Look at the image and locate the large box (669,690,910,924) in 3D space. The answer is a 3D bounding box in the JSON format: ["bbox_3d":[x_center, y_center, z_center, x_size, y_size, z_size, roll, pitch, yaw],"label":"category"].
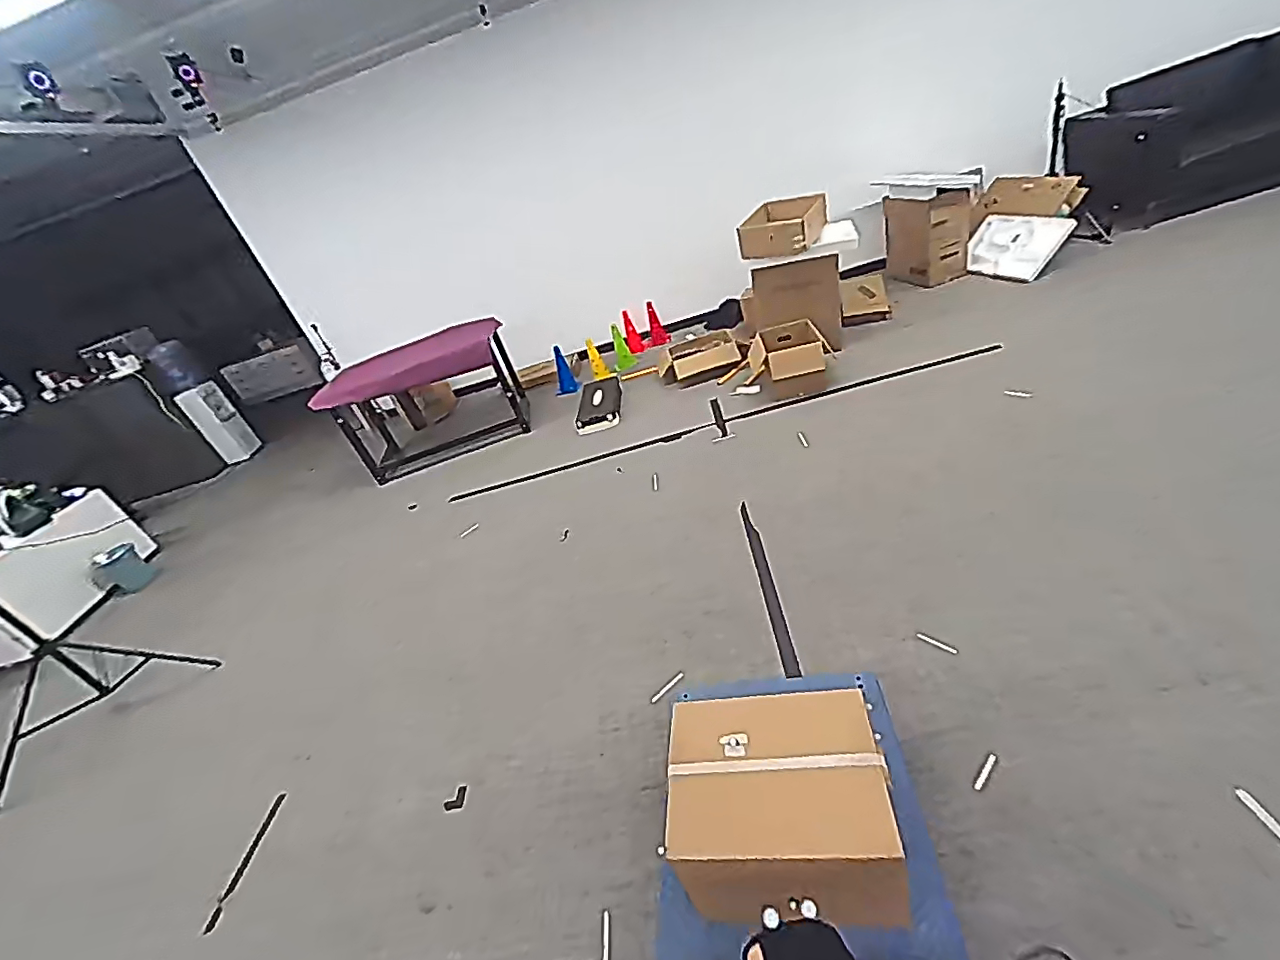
[{"bbox_3d":[0.299,0.685,1.130,0.408,0.320,0.320,-12,31,14],"label":"large box"}]
